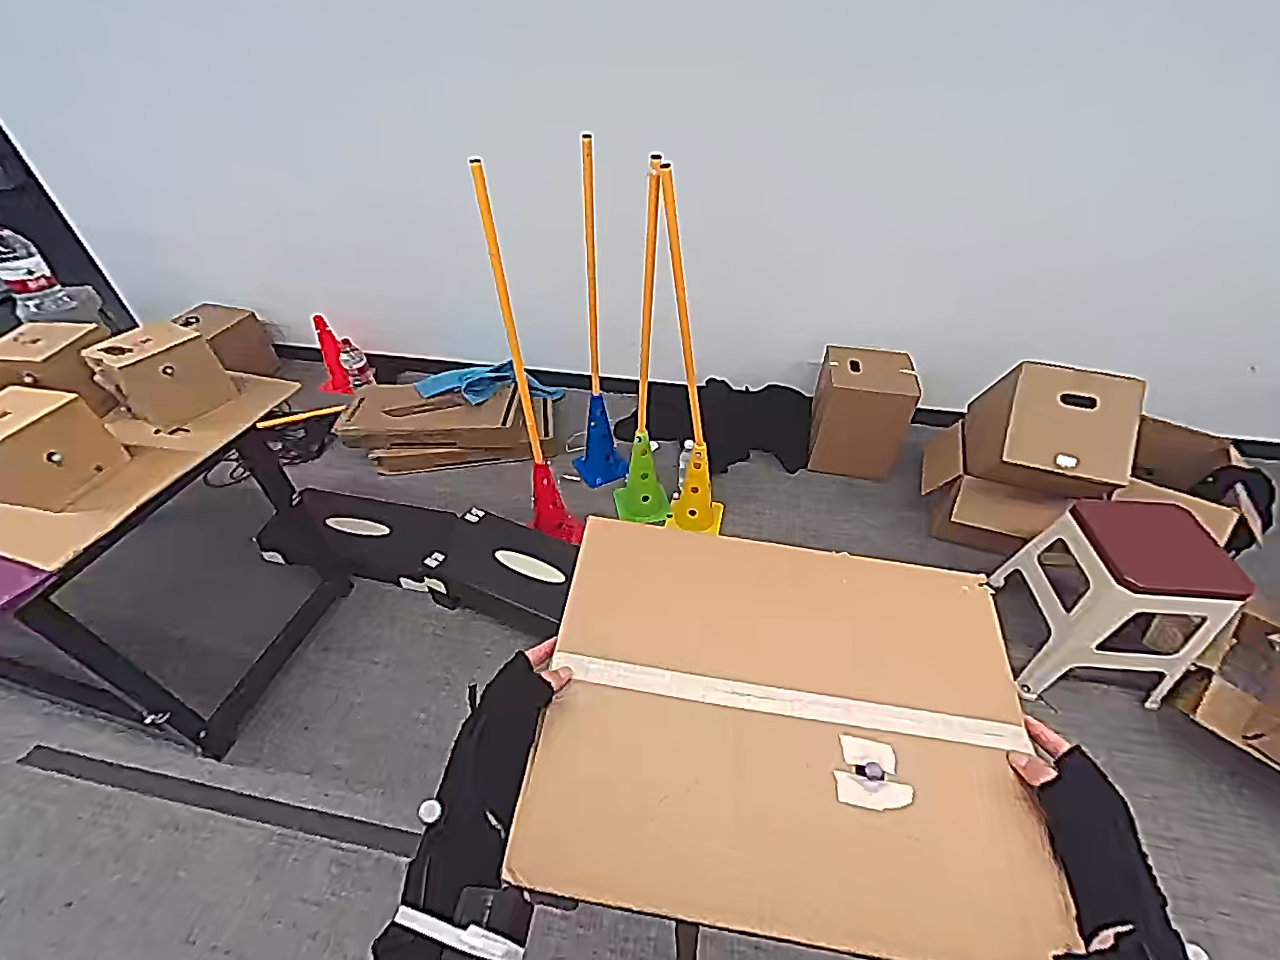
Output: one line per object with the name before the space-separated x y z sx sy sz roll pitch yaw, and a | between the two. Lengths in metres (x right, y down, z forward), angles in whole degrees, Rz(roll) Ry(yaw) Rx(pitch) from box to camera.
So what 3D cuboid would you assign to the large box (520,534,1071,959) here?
large box | 0.118 0.291 0.591 0.408 0.320 0.320 8 54 3
